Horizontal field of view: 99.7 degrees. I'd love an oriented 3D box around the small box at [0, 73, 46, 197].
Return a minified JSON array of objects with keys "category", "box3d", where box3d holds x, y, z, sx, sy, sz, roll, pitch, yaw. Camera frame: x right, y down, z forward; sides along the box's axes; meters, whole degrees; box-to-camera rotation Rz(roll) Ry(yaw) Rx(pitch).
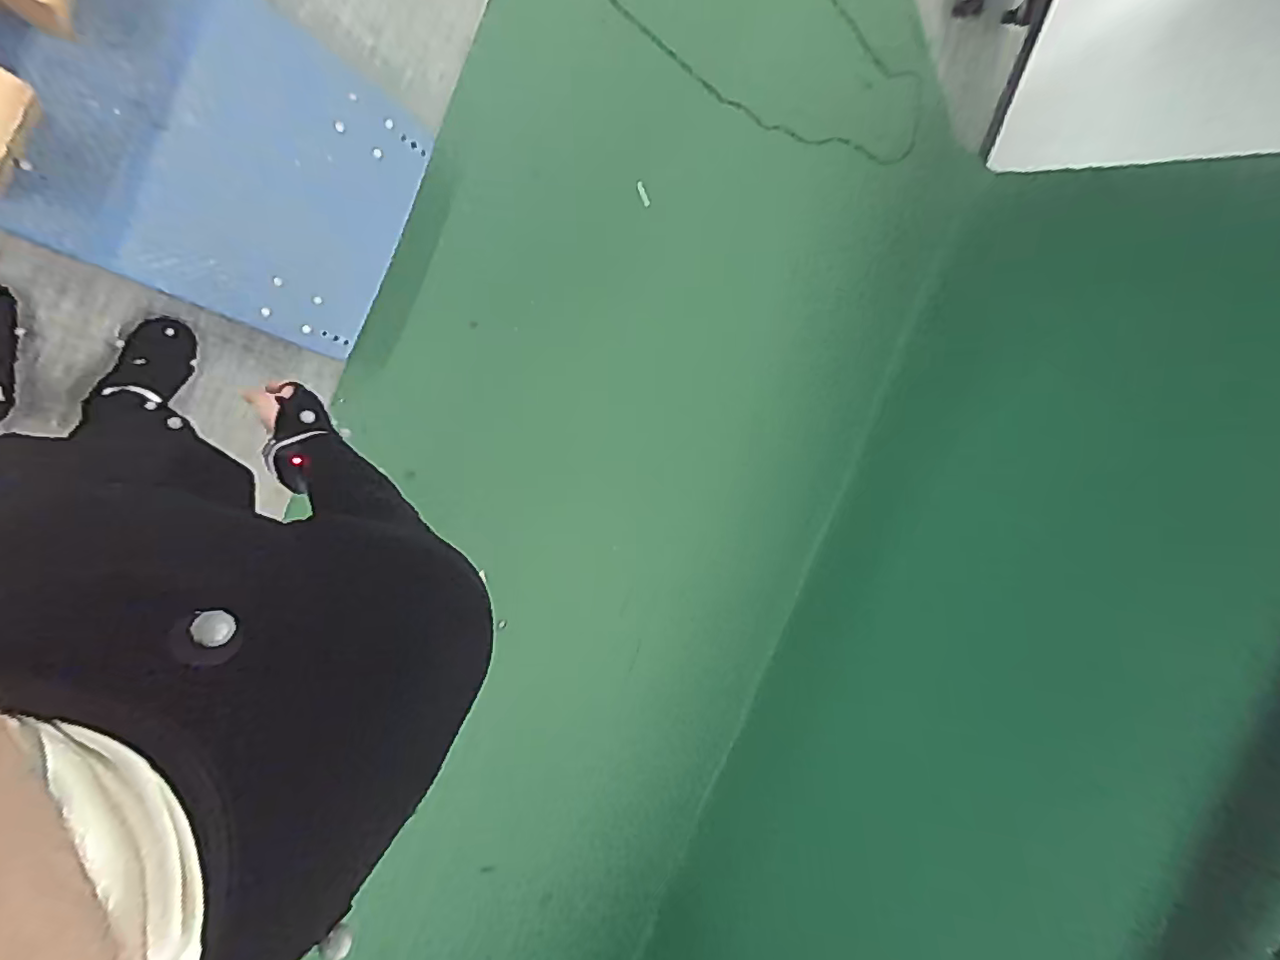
[{"category":"small box","box3d":[-1.001,-0.526,0.765,0.179,0.176,0.168,25,89,-47]}]
